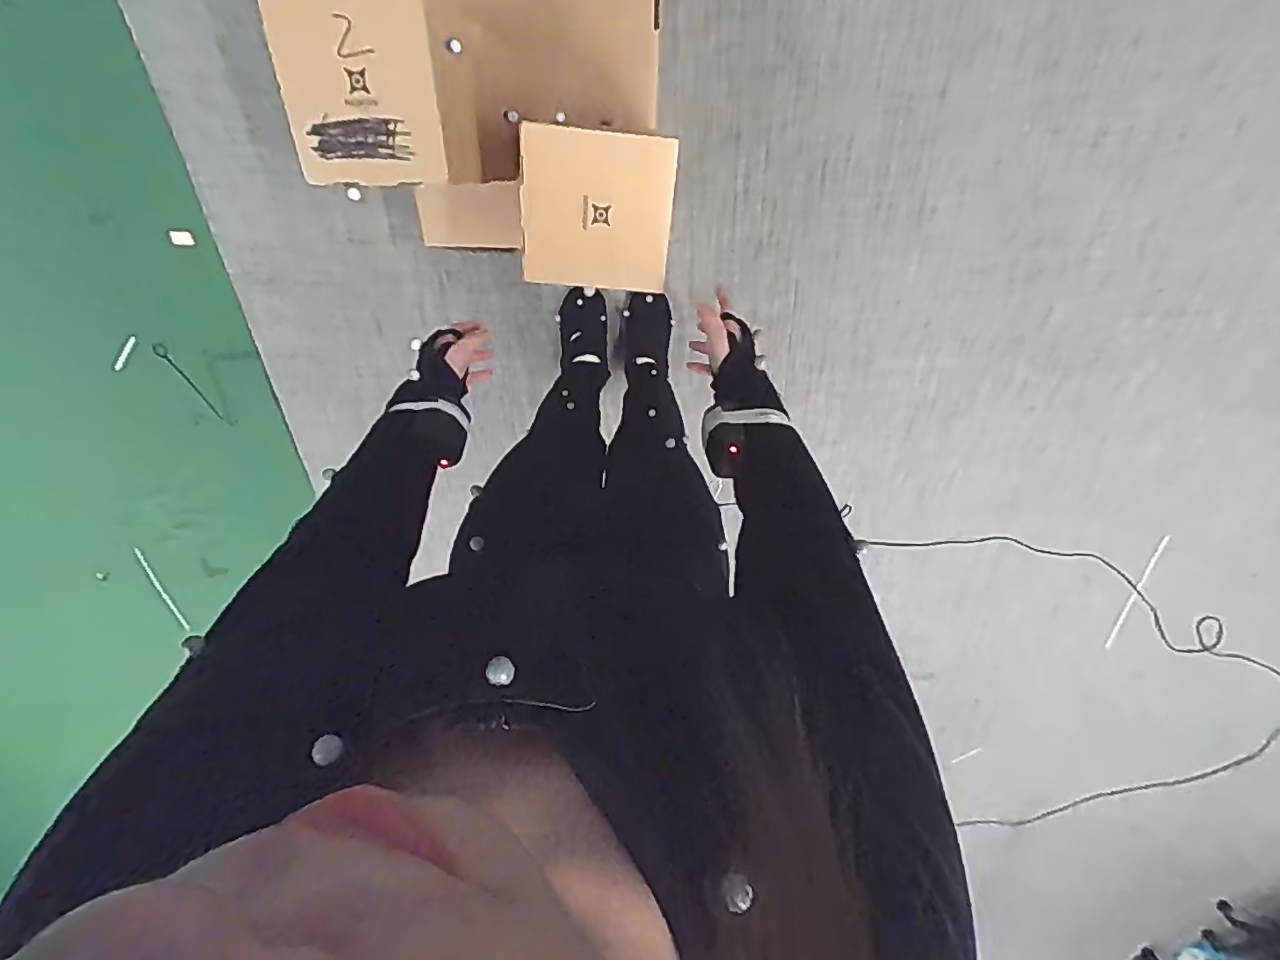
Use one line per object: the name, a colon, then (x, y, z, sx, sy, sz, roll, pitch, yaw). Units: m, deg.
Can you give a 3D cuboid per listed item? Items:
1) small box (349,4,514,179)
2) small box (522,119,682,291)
small box: (-0.280, -0.536, 0.771, 0.168, 0.176, 0.179, 4, 119, -1)
small box: (-0.048, -0.350, 0.688, 0.179, 0.176, 0.168, 4, 120, -3)
